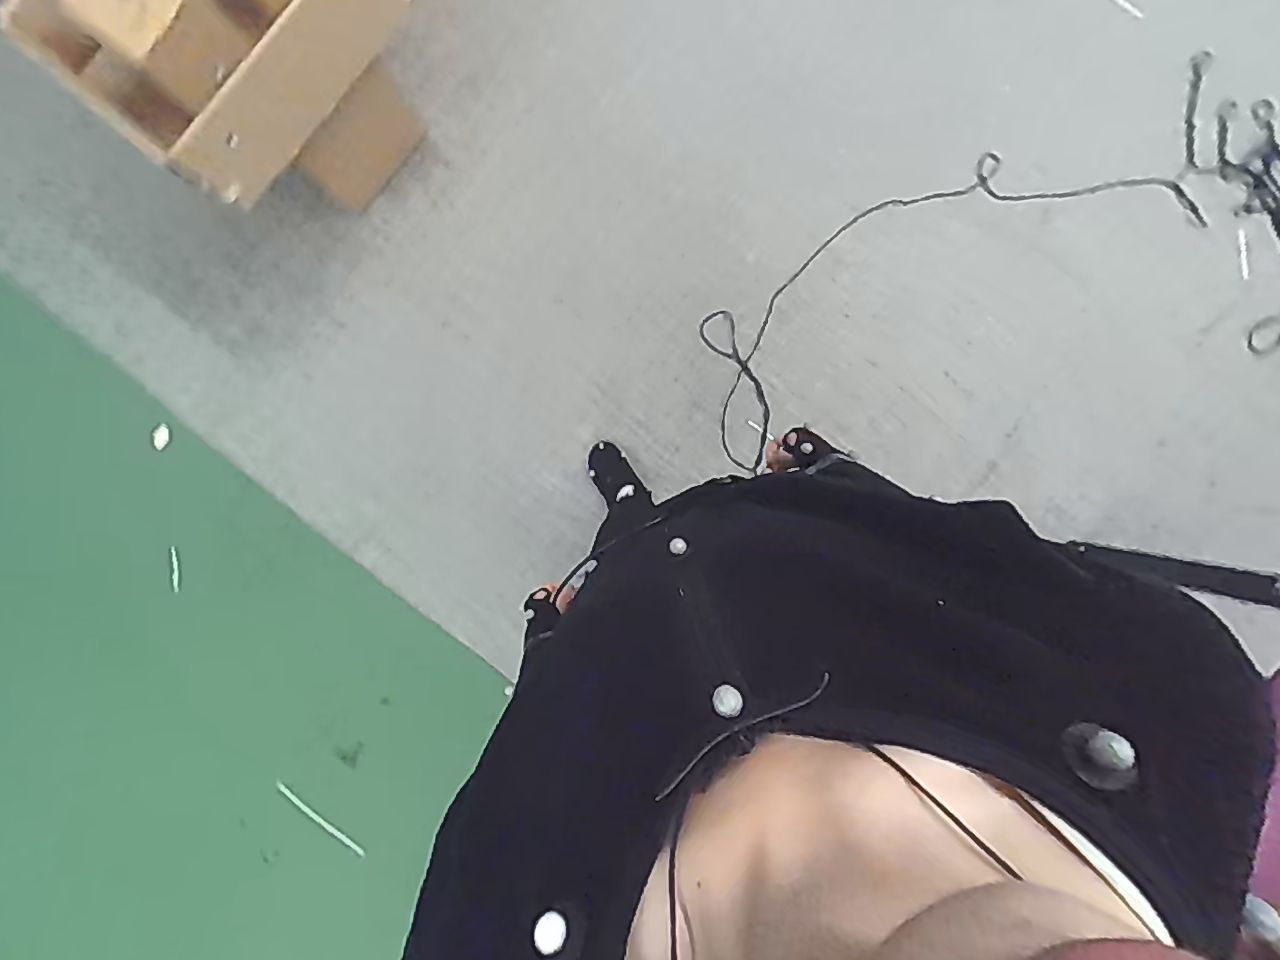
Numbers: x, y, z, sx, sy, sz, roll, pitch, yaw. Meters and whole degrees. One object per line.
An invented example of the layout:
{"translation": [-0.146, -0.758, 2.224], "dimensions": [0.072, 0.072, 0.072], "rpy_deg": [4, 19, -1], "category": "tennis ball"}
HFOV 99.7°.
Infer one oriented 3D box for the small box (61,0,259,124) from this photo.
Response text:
{"translation": [-0.873, -0.815, 1.002], "dimensions": [0.179, 0.176, 0.168], "rpy_deg": [36, 91, -1], "category": "small box"}
